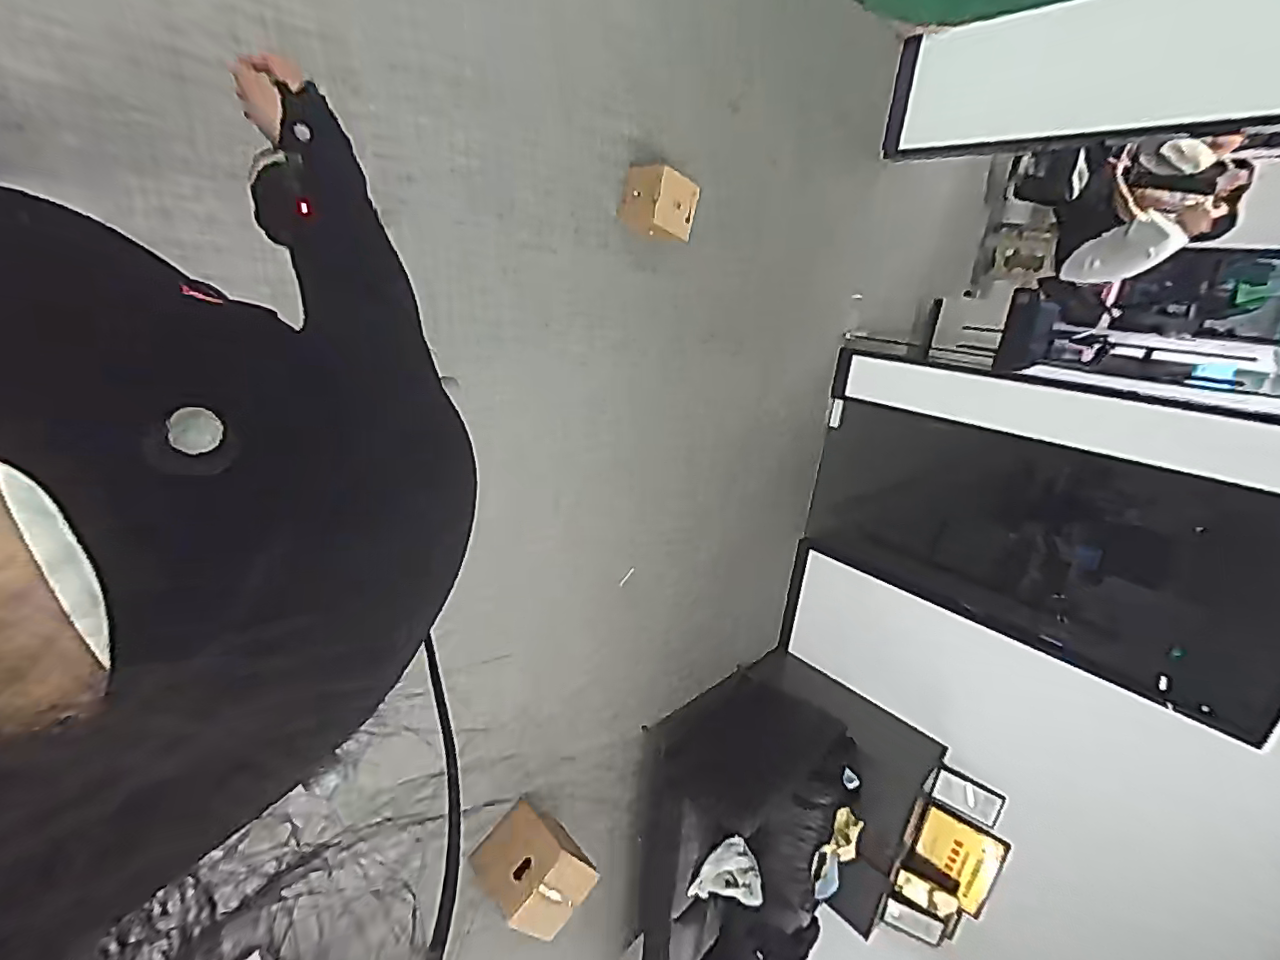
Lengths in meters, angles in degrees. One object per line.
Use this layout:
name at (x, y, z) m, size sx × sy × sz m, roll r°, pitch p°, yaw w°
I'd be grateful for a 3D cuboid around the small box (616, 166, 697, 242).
small box at (0.047, -0.873, 1.727) m, size 0.179 × 0.176 × 0.168 m, roll 2°, pitch 107°, yaw -46°
